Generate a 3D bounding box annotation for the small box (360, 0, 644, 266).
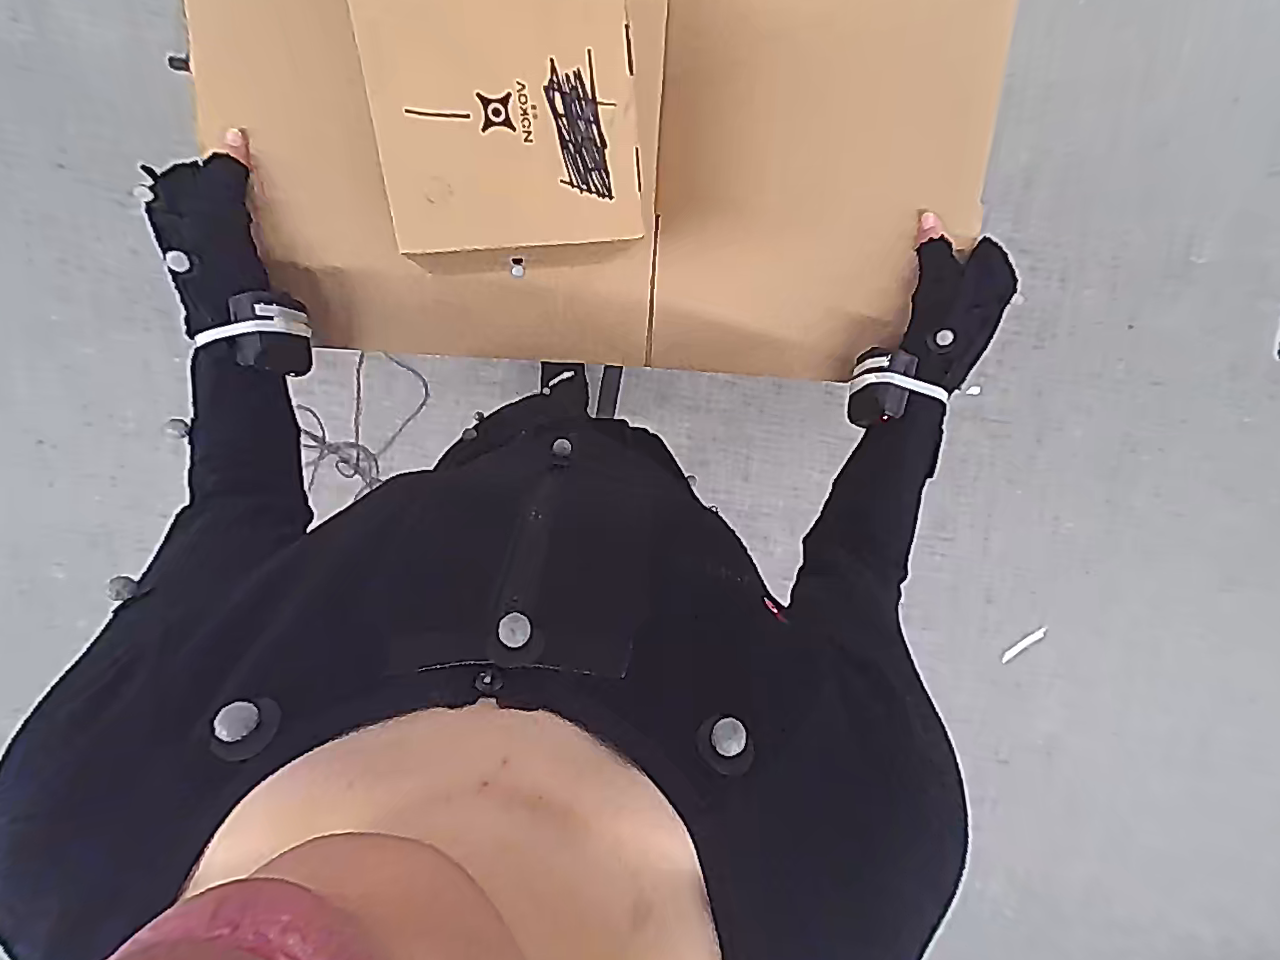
[{"bbox_3d":[-0.105,-0.276,0.446,0.179,0.176,0.168,-8,107,-10],"label":"small box"}]
